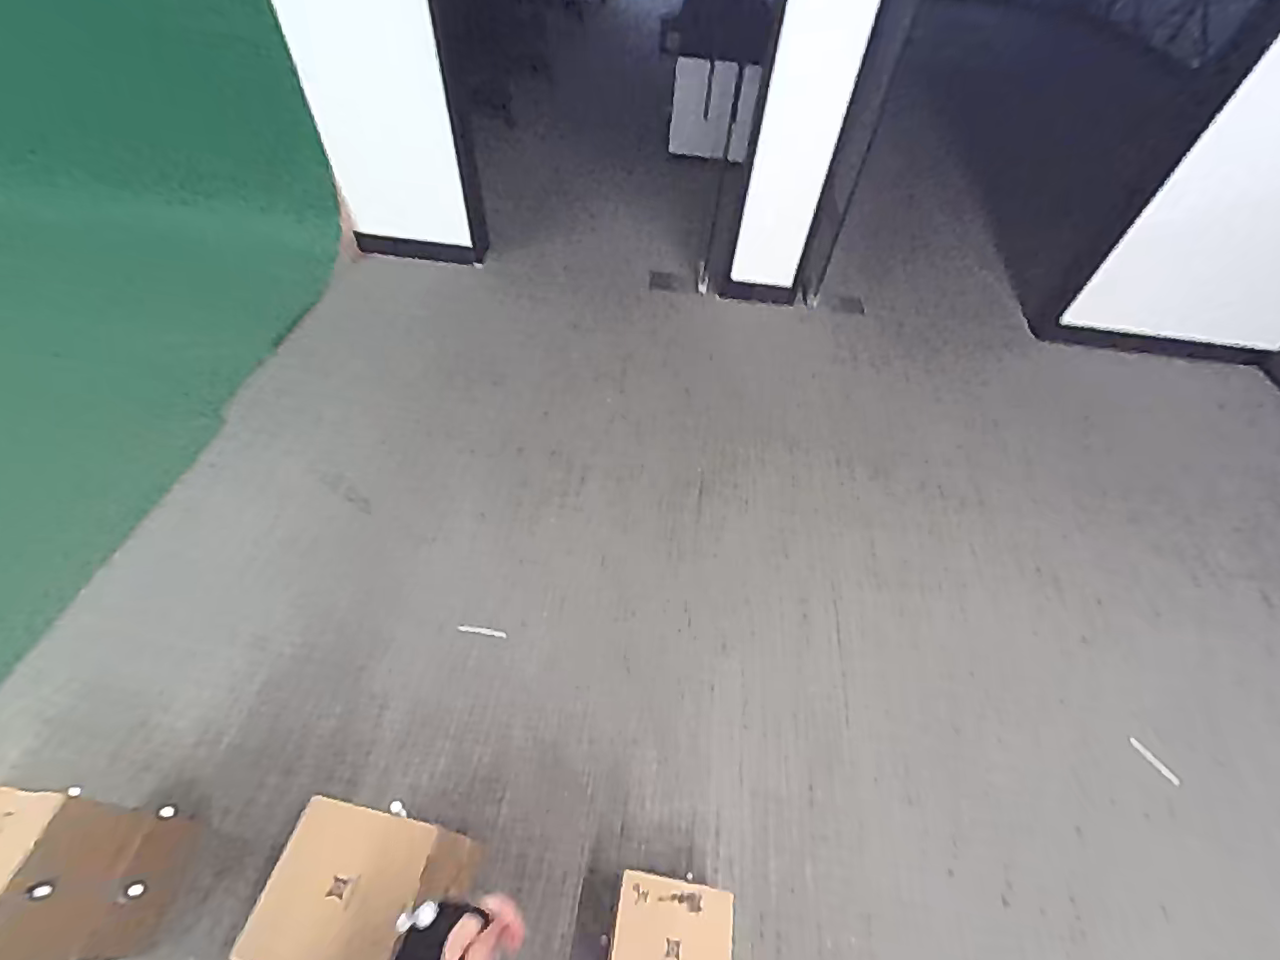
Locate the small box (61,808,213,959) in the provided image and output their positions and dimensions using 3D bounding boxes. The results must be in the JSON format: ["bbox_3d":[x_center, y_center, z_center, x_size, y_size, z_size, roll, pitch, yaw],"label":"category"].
[{"bbox_3d":[-0.819,0.609,0.833,0.168,0.176,0.179,8,50,1],"label":"small box"}]

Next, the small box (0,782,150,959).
[{"bbox_3d":[-0.811,0.508,0.703,0.168,0.176,0.179,7,51,0],"label":"small box"}]

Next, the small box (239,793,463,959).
[{"bbox_3d":[-0.359,0.539,0.713,0.179,0.176,0.168,11,51,5],"label":"small box"}]

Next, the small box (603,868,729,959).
[{"bbox_3d":[0.032,0.711,0.813,0.168,0.176,0.179,11,52,4],"label":"small box"}]
